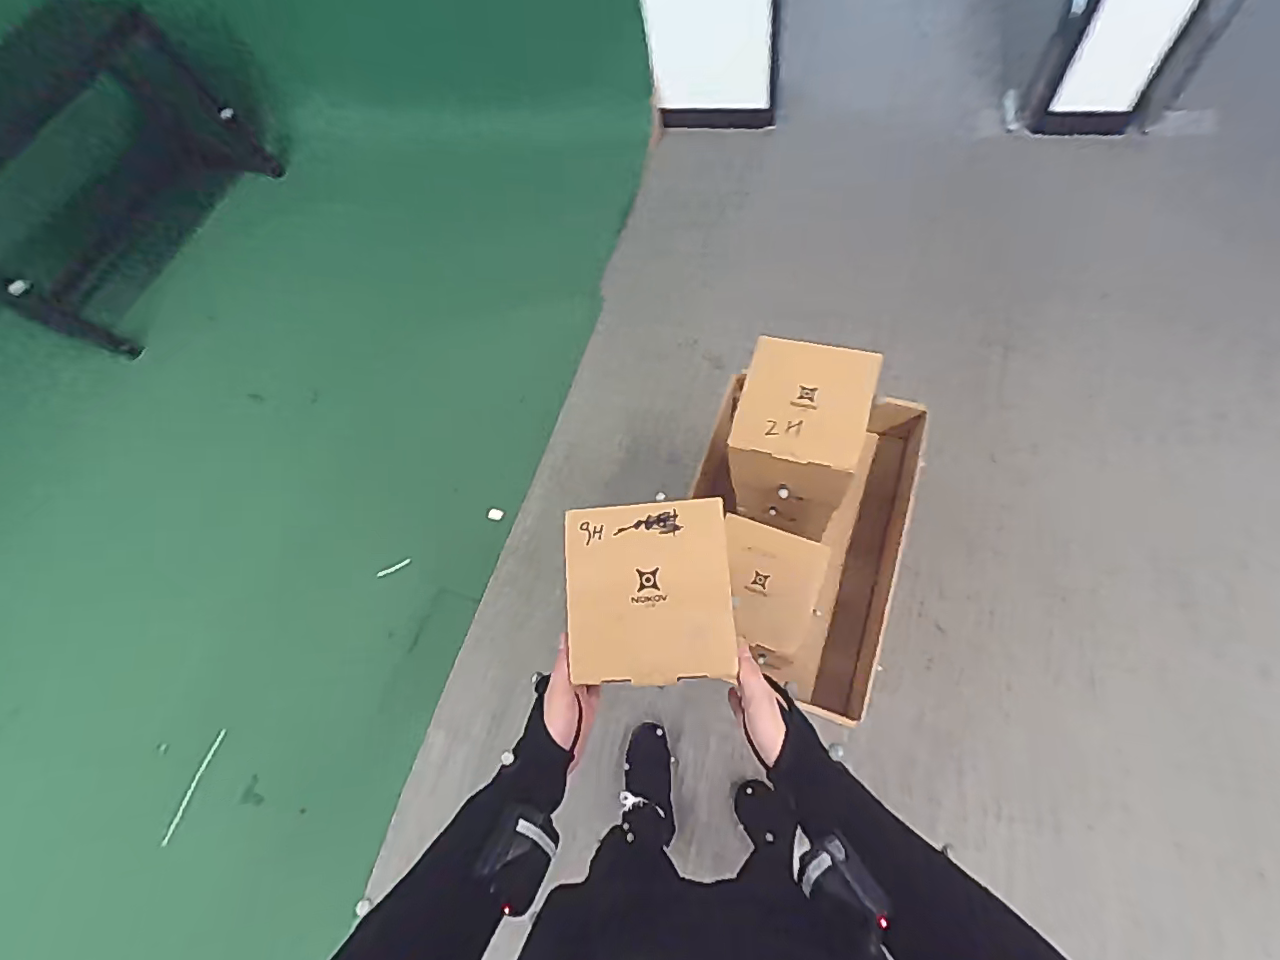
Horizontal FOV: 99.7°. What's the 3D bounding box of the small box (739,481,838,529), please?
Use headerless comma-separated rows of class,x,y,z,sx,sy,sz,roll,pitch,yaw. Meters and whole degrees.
small box,0.272,-0.035,0.942,0.168,0.176,0.179,16,75,17

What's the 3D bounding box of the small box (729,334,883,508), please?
small box,0.234,-0.080,0.787,0.168,0.176,0.179,15,74,17

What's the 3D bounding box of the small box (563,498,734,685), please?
small box,0.014,0.125,0.615,0.168,0.176,0.179,-5,77,5

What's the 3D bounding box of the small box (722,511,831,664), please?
small box,0.189,0.178,0.864,0.168,0.176,0.179,19,72,18
